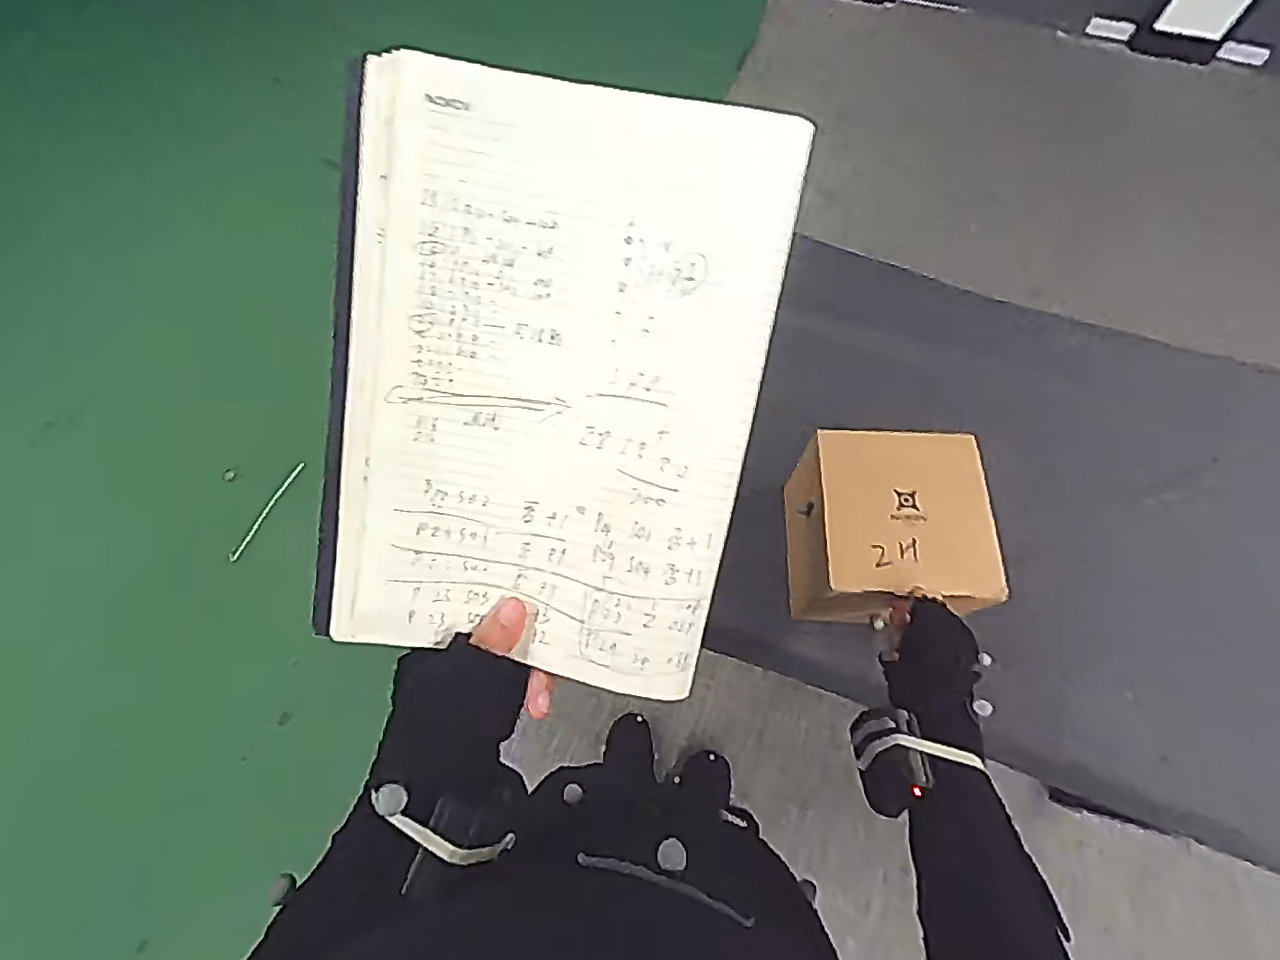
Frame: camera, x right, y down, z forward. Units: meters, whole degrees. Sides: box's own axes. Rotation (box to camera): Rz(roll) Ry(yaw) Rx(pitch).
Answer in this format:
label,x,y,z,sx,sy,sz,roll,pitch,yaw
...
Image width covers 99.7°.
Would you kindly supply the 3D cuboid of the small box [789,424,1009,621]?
label,x,y,z,sx,sy,sz,roll,pitch,yaw
small box,0.271,0.055,0.615,0.168,0.176,0.179,2,67,3
